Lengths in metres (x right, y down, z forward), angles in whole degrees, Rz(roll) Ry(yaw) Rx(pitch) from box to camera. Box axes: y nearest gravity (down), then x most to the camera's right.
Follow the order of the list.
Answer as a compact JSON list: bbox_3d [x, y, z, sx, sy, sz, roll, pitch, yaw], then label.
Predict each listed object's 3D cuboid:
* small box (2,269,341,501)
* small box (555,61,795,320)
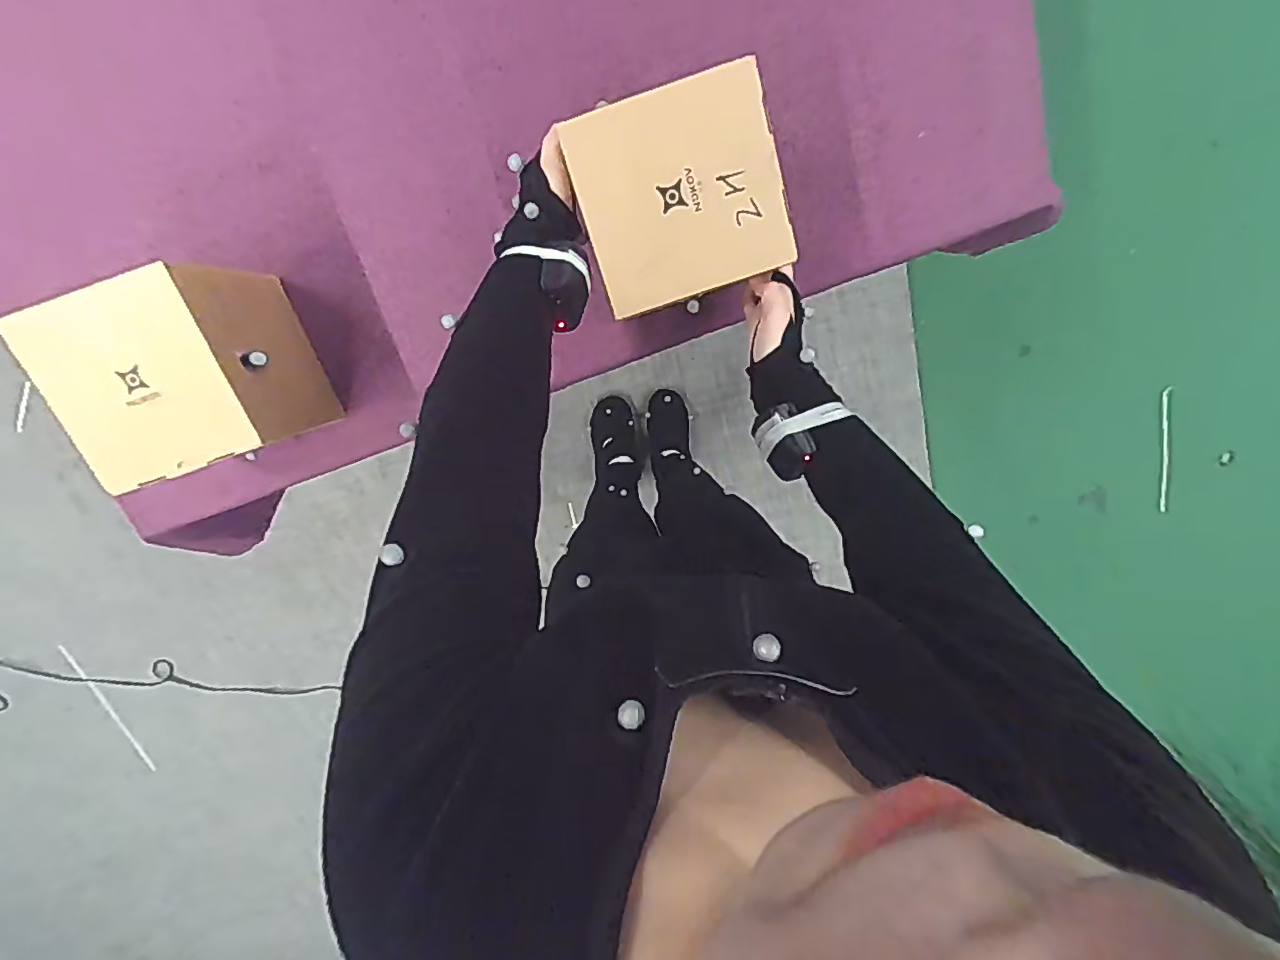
[{"bbox_3d":[-0.463,-0.104,0.572,0.168,0.176,0.179,-19,108,3],"label":"small box"},{"bbox_3d":[0.032,-0.266,0.544,0.179,0.176,0.168,-18,107,3],"label":"small box"}]
